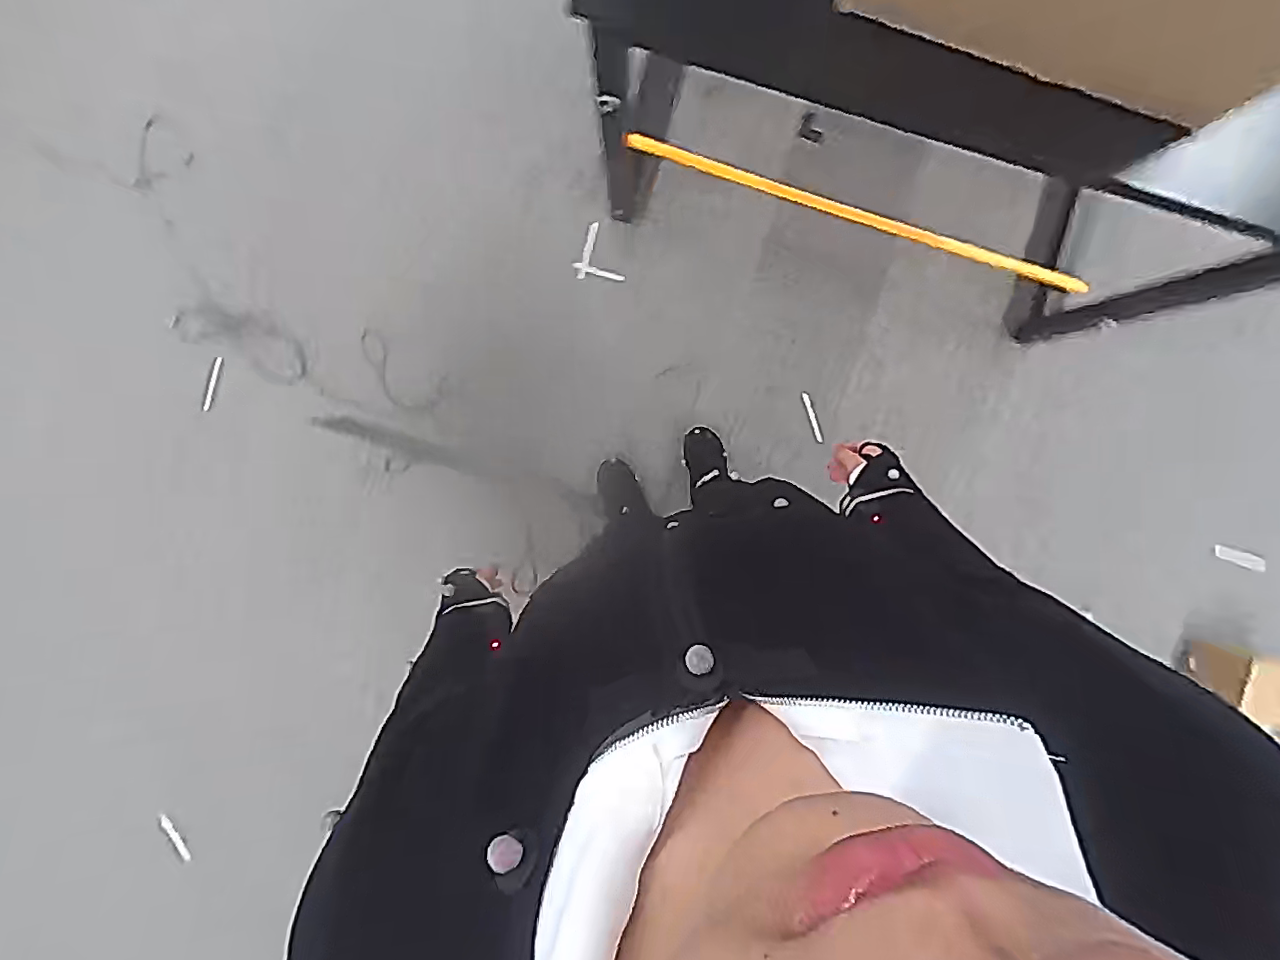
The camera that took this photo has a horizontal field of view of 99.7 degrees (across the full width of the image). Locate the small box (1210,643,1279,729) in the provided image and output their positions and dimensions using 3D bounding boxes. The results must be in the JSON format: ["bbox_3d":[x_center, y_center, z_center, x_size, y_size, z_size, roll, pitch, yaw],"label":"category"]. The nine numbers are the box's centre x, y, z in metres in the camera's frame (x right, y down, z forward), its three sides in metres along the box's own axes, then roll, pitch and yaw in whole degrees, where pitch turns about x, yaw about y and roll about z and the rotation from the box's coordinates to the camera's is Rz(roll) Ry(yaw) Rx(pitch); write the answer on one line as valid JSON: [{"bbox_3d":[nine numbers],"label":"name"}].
[{"bbox_3d":[1.654,0.537,1.392,0.179,0.176,0.168,10,94,0],"label":"small box"}]
